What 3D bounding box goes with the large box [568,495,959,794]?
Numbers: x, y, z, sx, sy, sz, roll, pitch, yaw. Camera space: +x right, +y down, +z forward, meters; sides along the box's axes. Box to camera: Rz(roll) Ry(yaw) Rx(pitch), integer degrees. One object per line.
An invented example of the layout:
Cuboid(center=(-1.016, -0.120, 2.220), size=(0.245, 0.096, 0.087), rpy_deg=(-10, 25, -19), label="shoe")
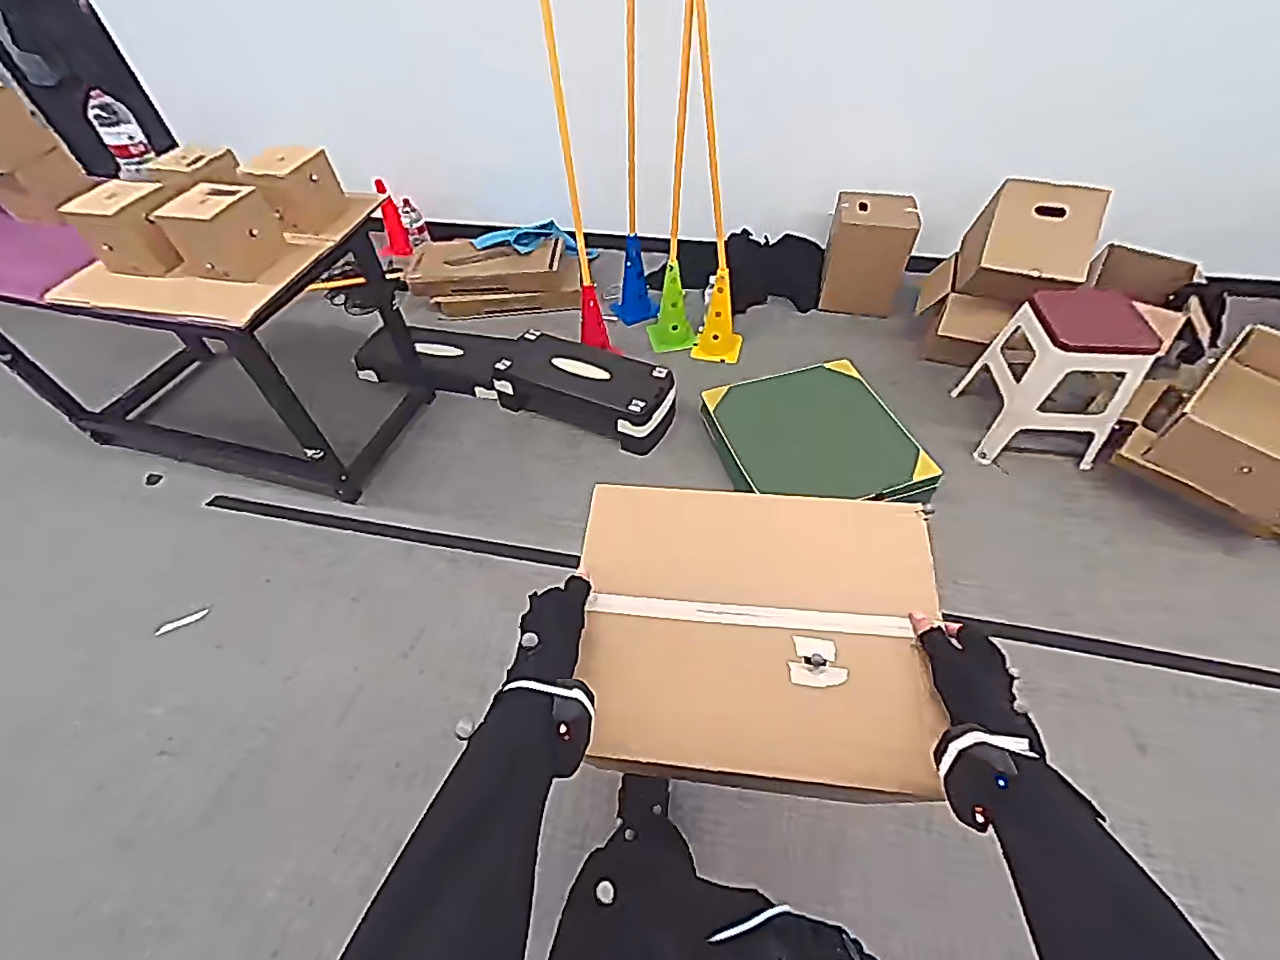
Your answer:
Cuboid(center=(0.140, 0.237, 0.751), size=(0.408, 0.320, 0.320), rpy_deg=(4, 60, 6), label="large box")
